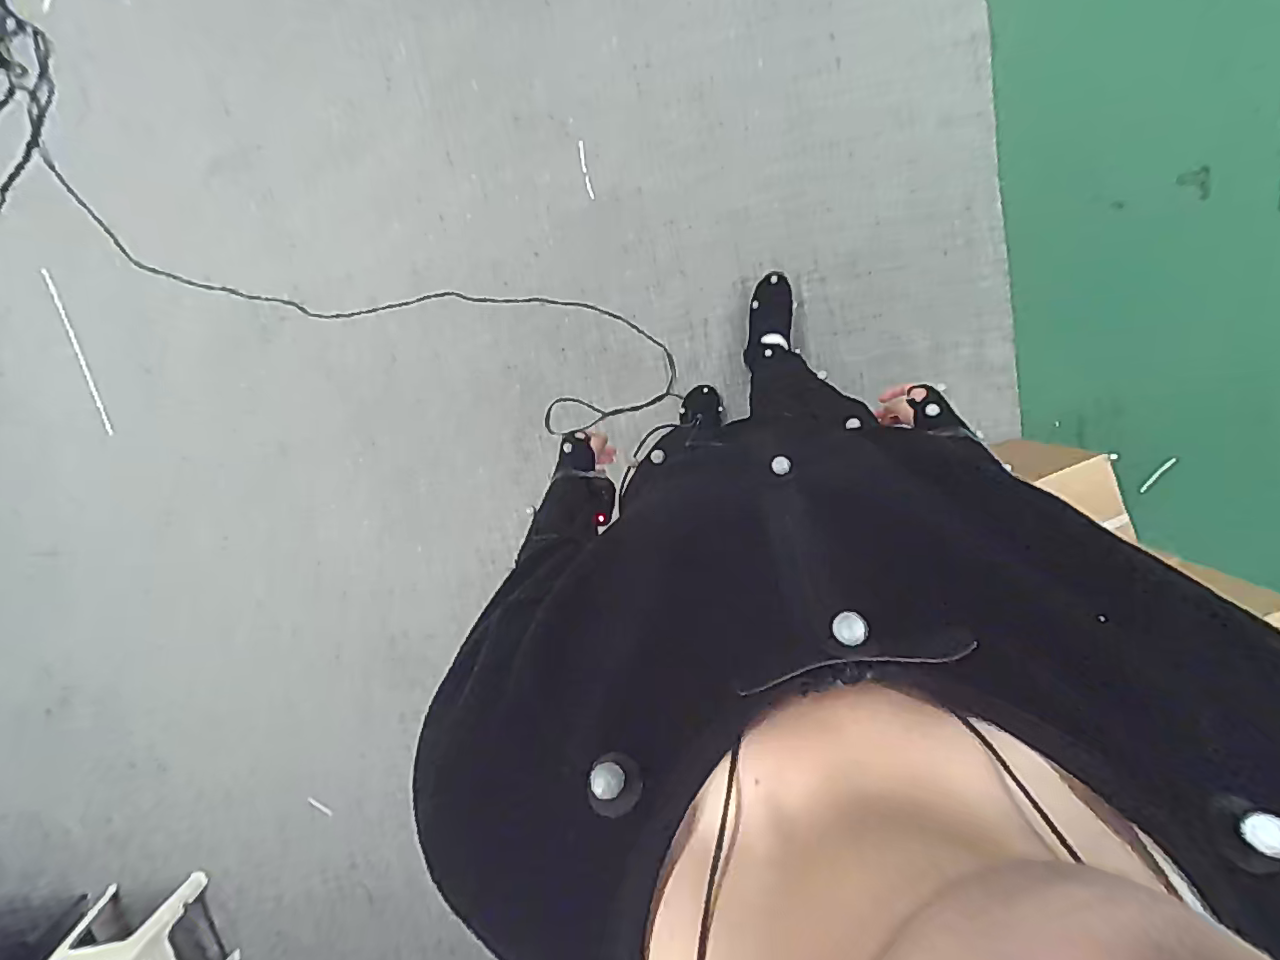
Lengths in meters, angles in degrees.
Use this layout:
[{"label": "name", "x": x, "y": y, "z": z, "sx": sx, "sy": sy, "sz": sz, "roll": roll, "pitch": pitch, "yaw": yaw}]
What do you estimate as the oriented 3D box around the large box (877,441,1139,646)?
[{"label": "large box", "x": 0.880, "y": 0.136, "z": 1.333, "sx": 0.408, "sy": 0.320, "sz": 0.320, "roll": -25, "pitch": 99, "yaw": 6}]
